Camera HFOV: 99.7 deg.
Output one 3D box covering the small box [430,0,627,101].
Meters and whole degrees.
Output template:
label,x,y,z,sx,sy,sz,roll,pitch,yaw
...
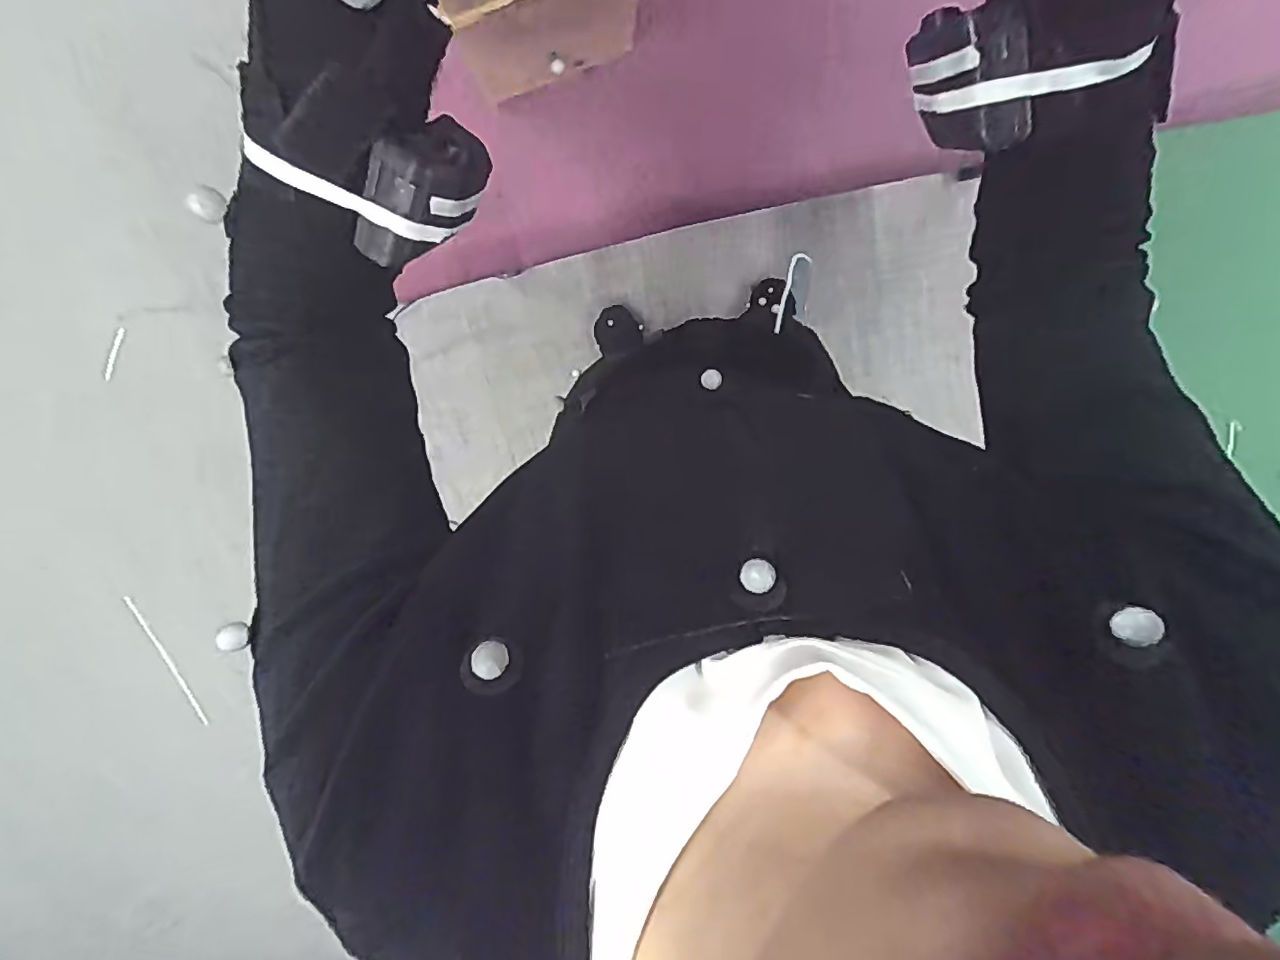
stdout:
label,x,y,z,sx,sy,sz,roll,pitch,yaw
small box,-0.115,-0.491,0.487,0.168,0.176,0.179,-18,107,4
